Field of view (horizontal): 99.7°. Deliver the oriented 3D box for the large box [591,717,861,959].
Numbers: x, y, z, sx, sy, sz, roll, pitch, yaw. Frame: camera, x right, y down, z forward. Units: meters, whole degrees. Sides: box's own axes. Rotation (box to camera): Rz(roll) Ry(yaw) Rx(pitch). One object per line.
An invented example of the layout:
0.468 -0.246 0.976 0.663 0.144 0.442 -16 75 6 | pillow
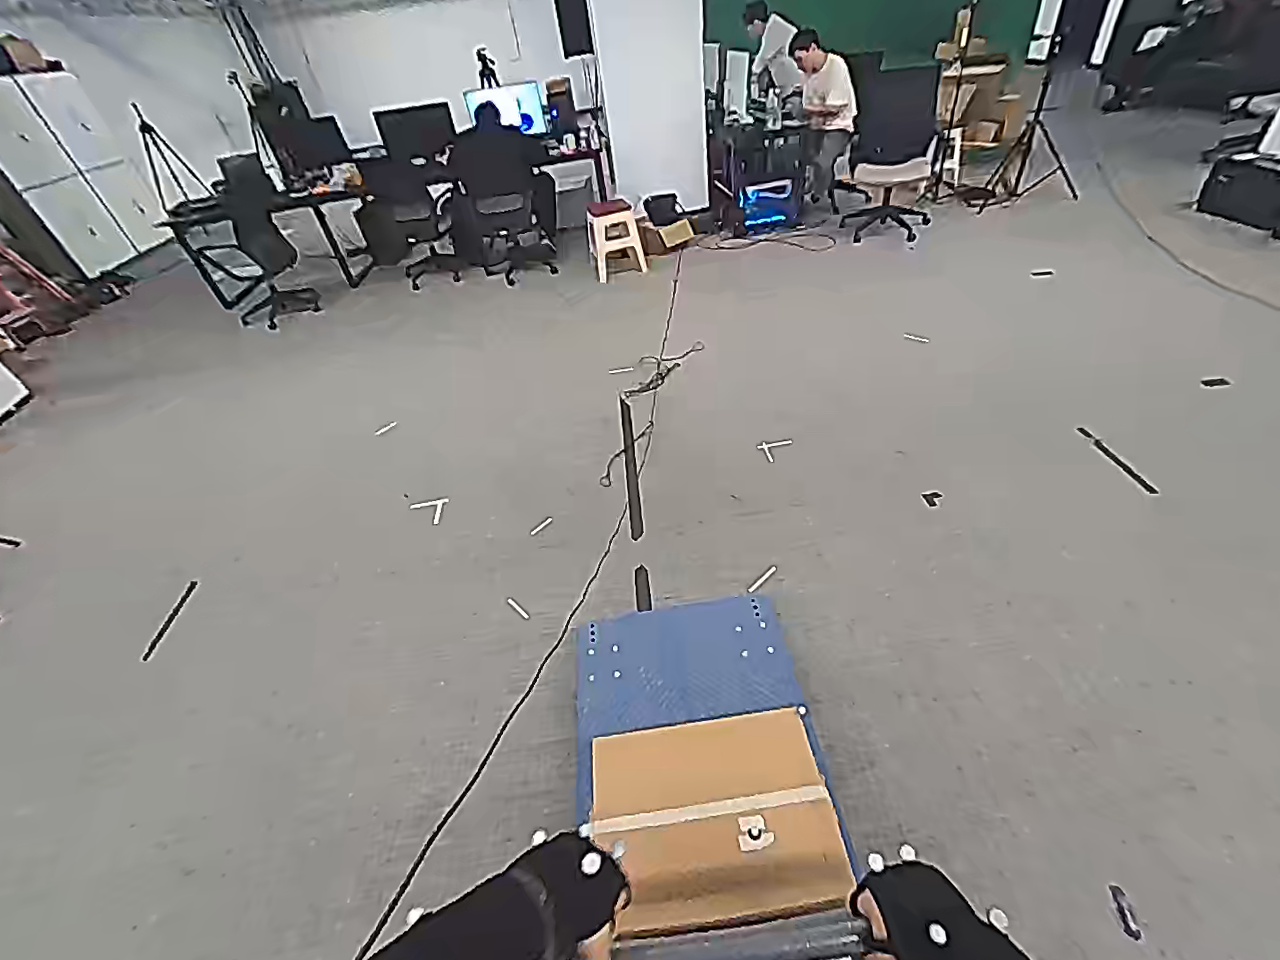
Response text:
0.136 0.692 1.004 0.408 0.320 0.320 -9 40 0 | large box
